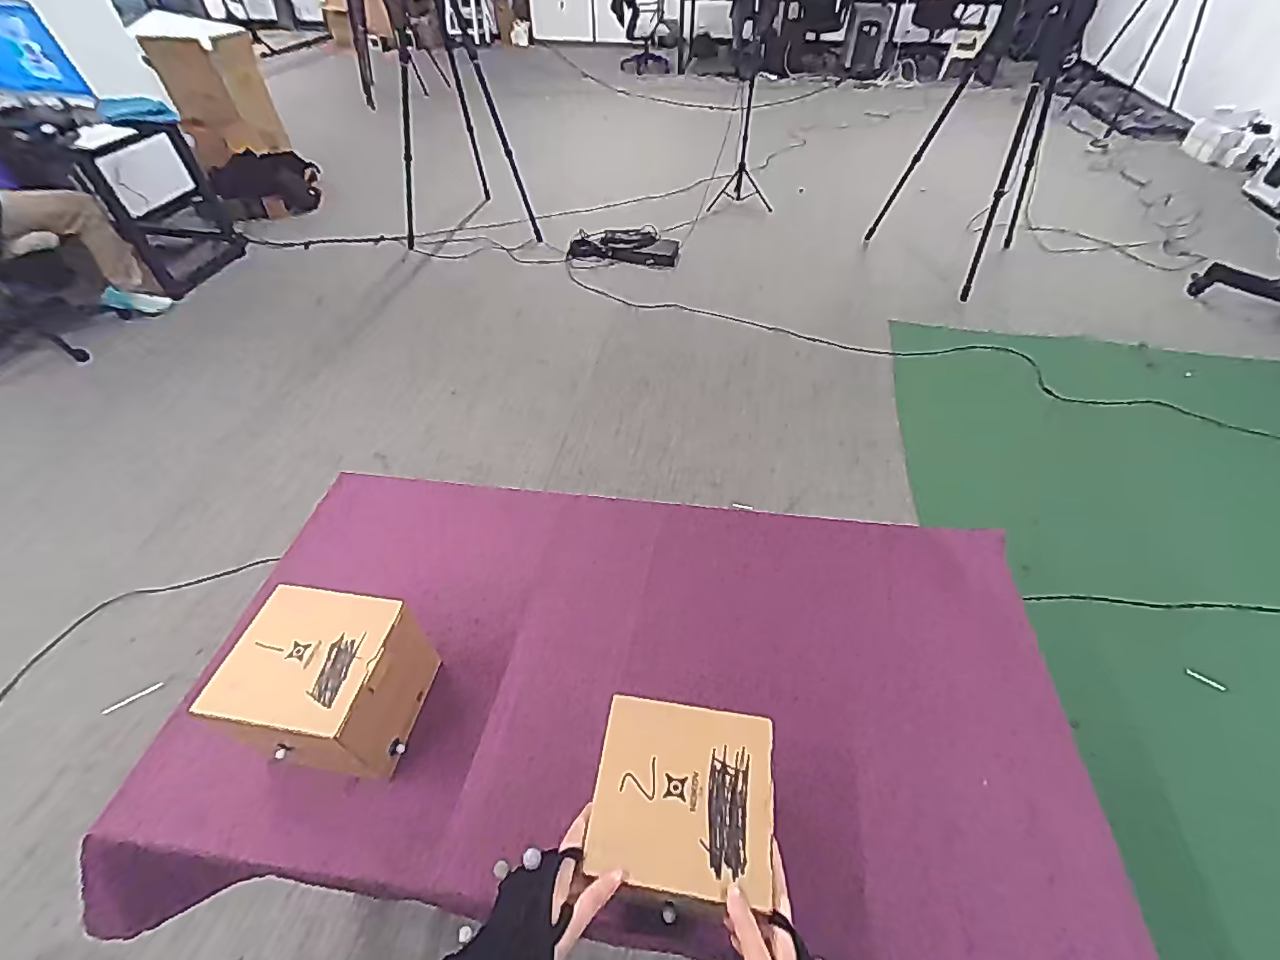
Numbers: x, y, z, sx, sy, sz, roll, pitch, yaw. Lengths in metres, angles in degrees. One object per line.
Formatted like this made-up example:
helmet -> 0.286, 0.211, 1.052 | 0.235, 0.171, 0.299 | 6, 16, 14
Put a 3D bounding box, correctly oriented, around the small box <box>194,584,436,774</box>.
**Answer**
small box -> -0.388, 0.257, 0.690 | 0.179, 0.176, 0.168 | 6, 47, 7
